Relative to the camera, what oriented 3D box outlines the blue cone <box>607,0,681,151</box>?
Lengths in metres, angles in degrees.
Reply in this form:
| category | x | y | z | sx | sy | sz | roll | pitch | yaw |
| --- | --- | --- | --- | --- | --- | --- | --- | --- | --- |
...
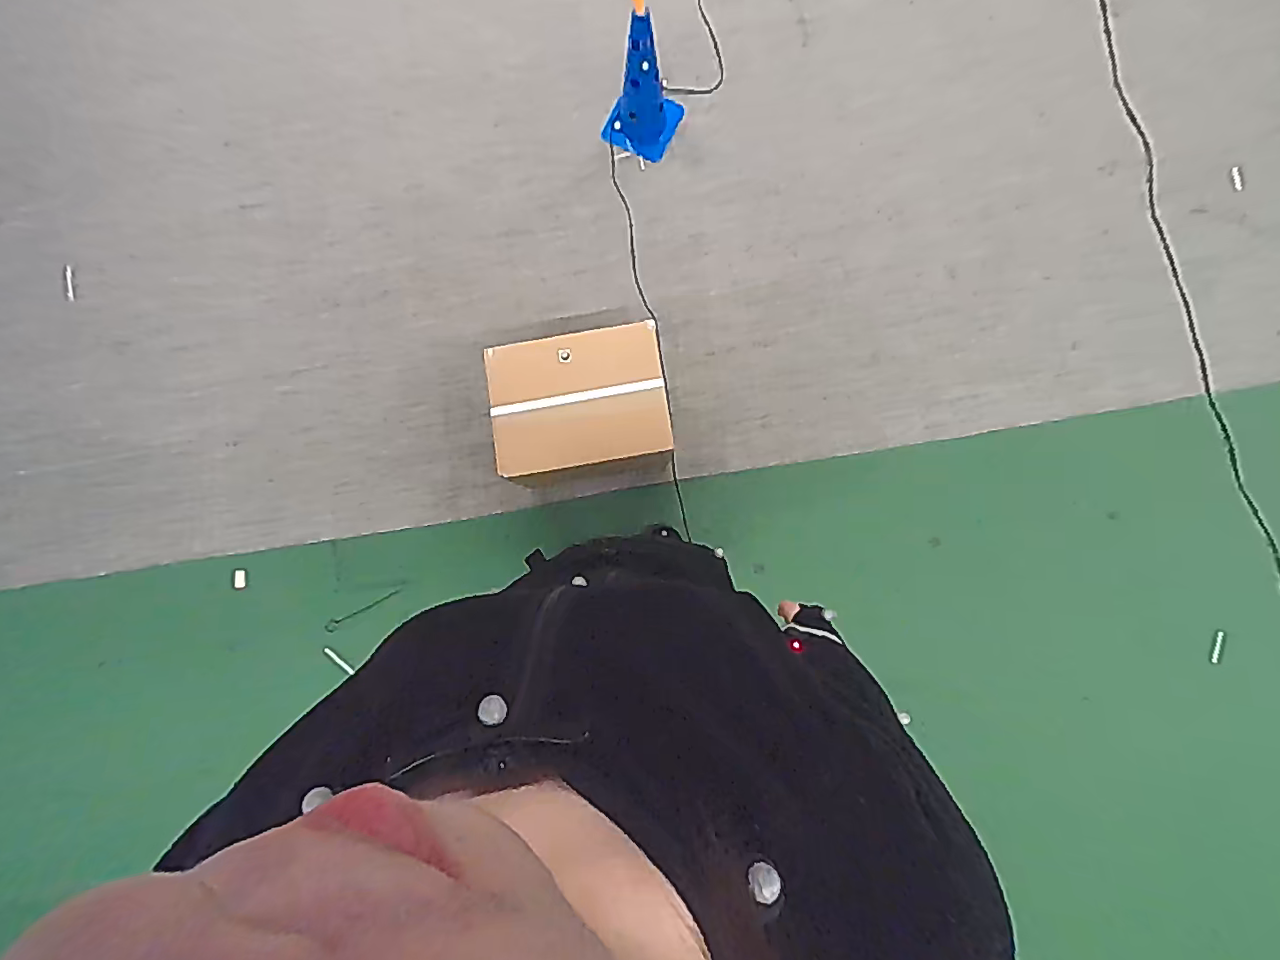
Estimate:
| category | x | y | z | sx | sy | sz | roll | pitch | yaw |
| --- | --- | --- | --- | --- | --- | --- | --- | --- | --- |
| blue cone | 0.009 | -1.086 | 1.431 | 0.192 | 0.380 | 0.193 | 24 | 87 | 3 |
